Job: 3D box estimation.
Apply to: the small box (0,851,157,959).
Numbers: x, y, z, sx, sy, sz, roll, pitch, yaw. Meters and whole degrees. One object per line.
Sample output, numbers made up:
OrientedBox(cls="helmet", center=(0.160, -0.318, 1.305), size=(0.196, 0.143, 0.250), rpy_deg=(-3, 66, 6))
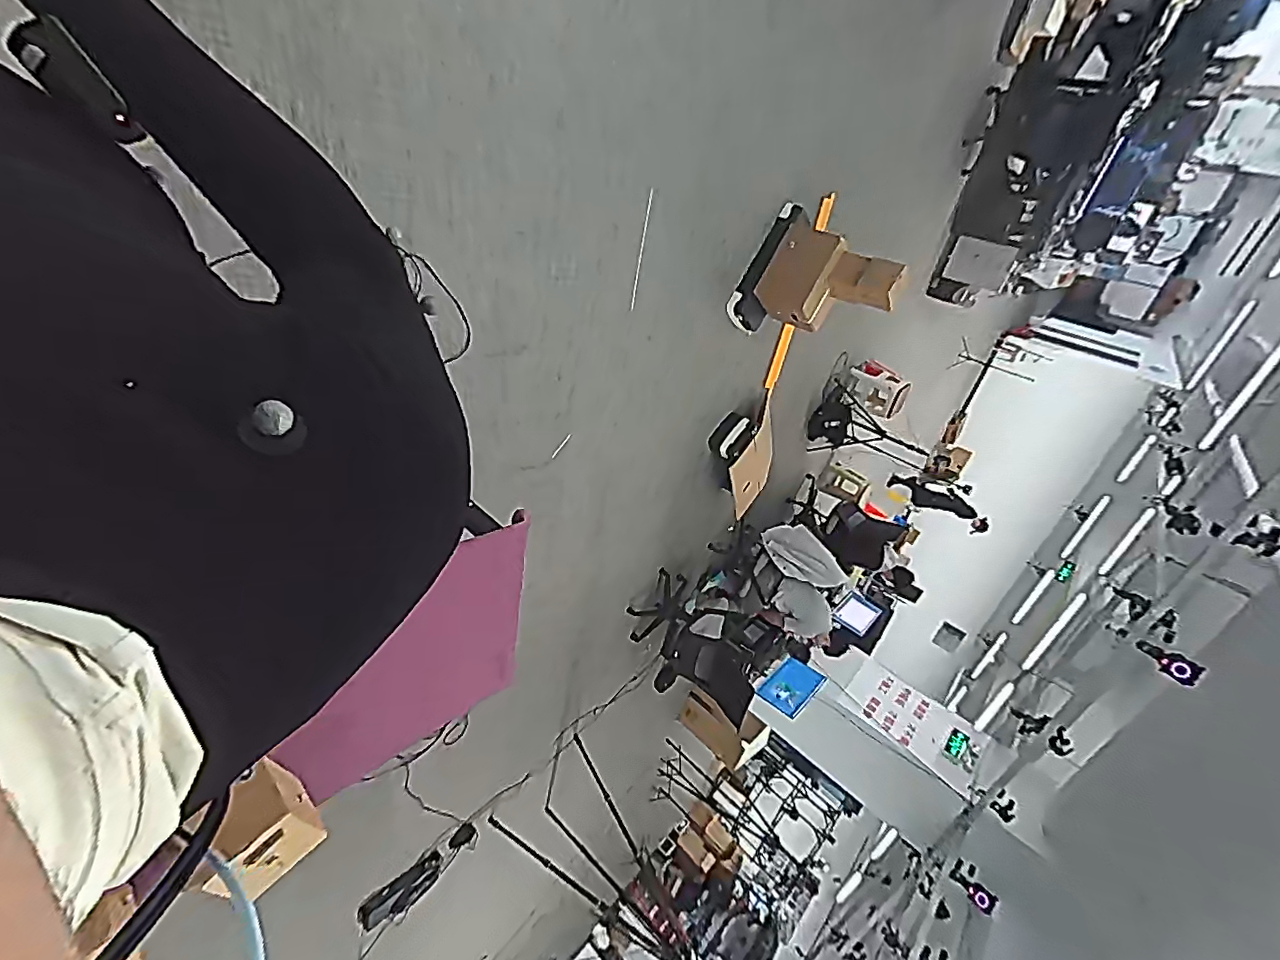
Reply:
OrientedBox(cls="small box", center=(-0.985, 0.797, 0.925), size=(0.179, 0.176, 0.168), rpy_deg=(-28, 139, -41))

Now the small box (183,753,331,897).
OrientedBox(cls="small box", center=(-0.786, 0.702, 1.114), size=(0.168, 0.176, 0.179), rpy_deg=(-37, 144, -29))
